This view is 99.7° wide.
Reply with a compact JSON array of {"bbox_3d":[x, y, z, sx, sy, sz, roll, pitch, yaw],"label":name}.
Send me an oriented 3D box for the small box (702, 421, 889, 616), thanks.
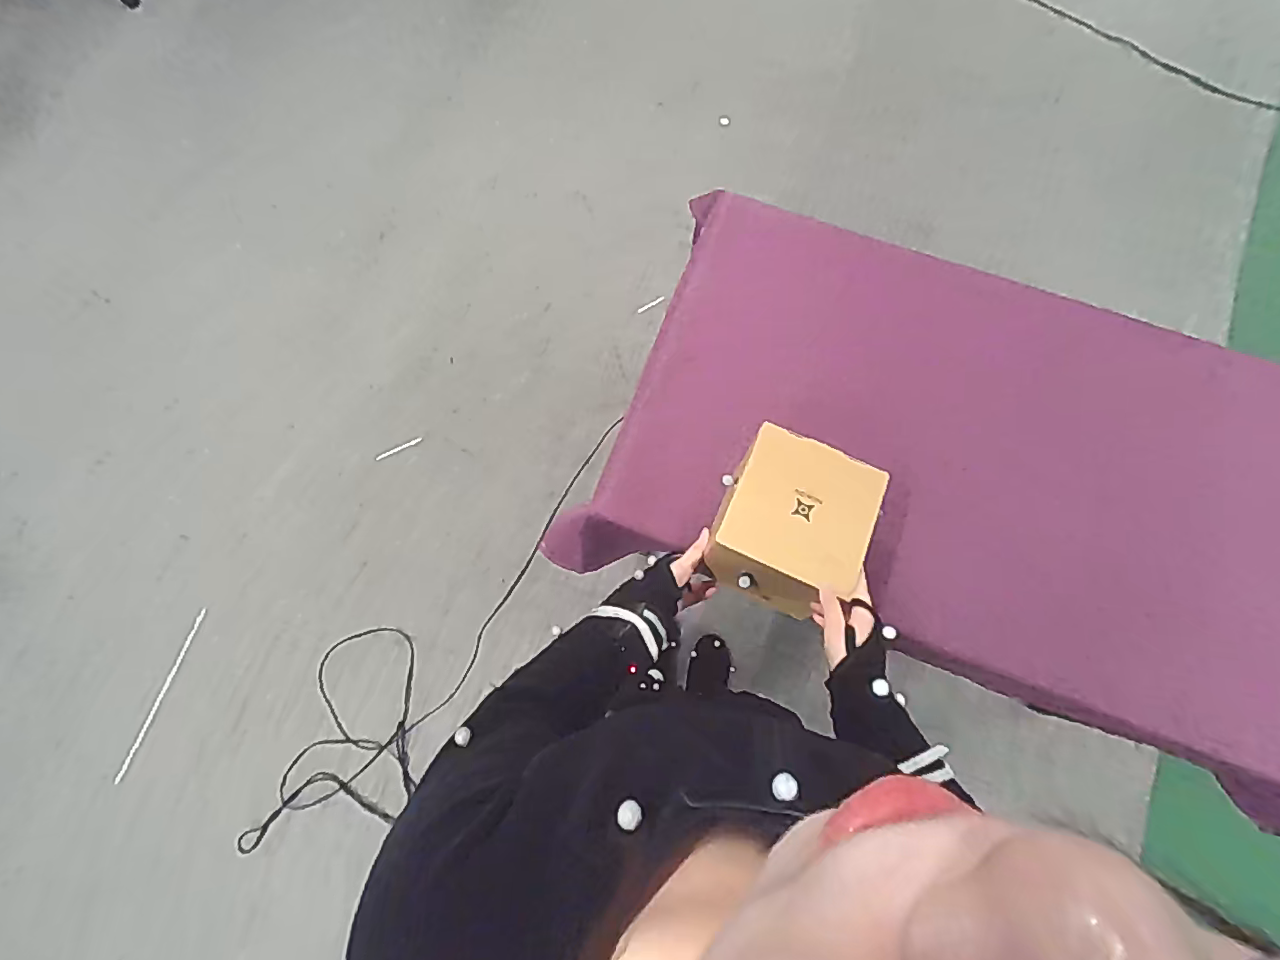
[{"bbox_3d":[0.189,0.060,0.706,0.168,0.176,0.179,24,69,7],"label":"small box"}]
